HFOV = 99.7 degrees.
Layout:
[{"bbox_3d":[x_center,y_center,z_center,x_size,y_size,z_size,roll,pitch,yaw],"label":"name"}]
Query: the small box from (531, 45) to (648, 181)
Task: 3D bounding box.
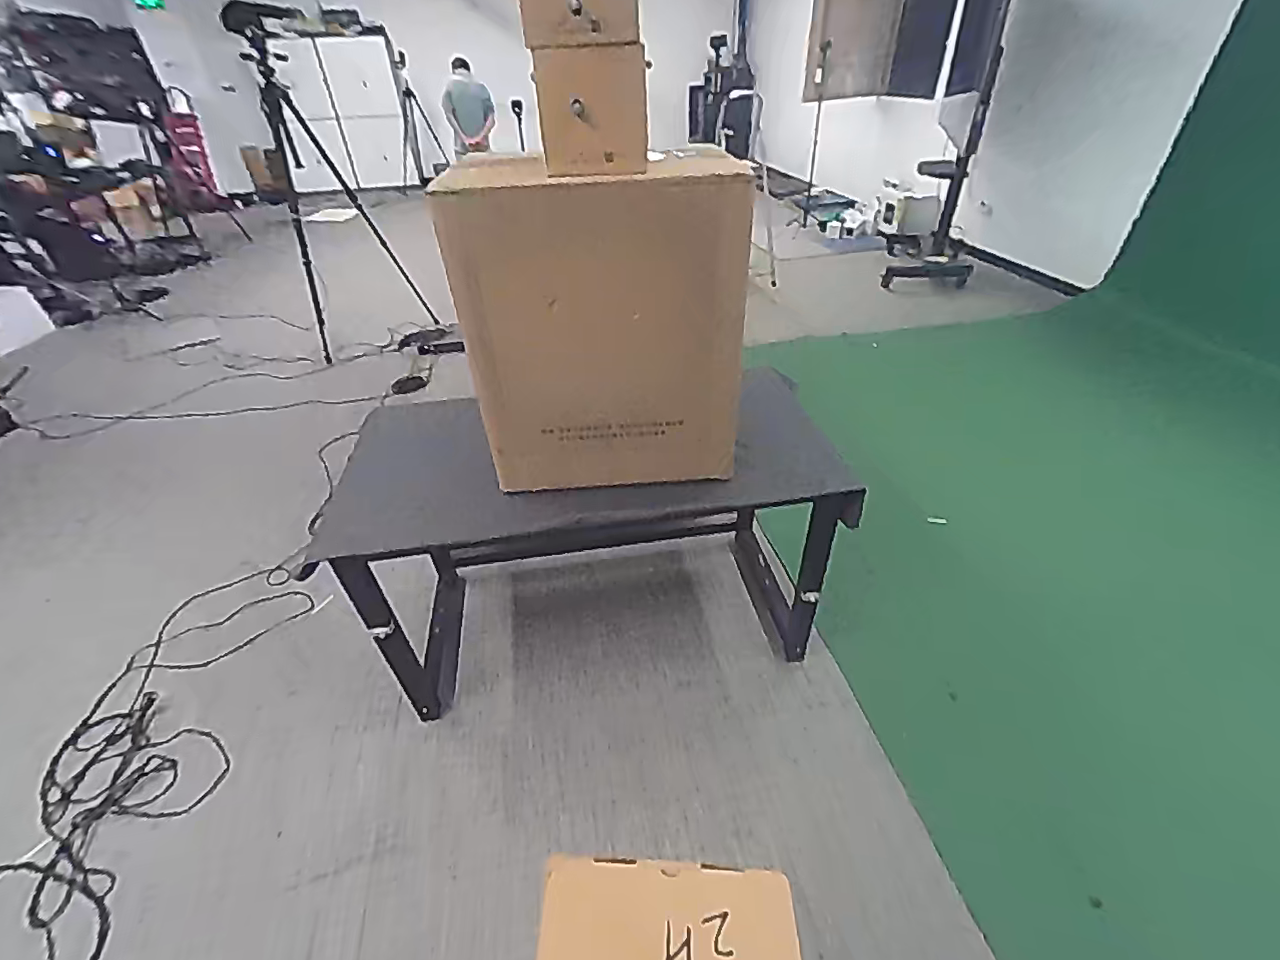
[{"bbox_3d":[-0.073,-0.598,0.888,0.168,0.176,0.179,-2,40,1],"label":"small box"}]
